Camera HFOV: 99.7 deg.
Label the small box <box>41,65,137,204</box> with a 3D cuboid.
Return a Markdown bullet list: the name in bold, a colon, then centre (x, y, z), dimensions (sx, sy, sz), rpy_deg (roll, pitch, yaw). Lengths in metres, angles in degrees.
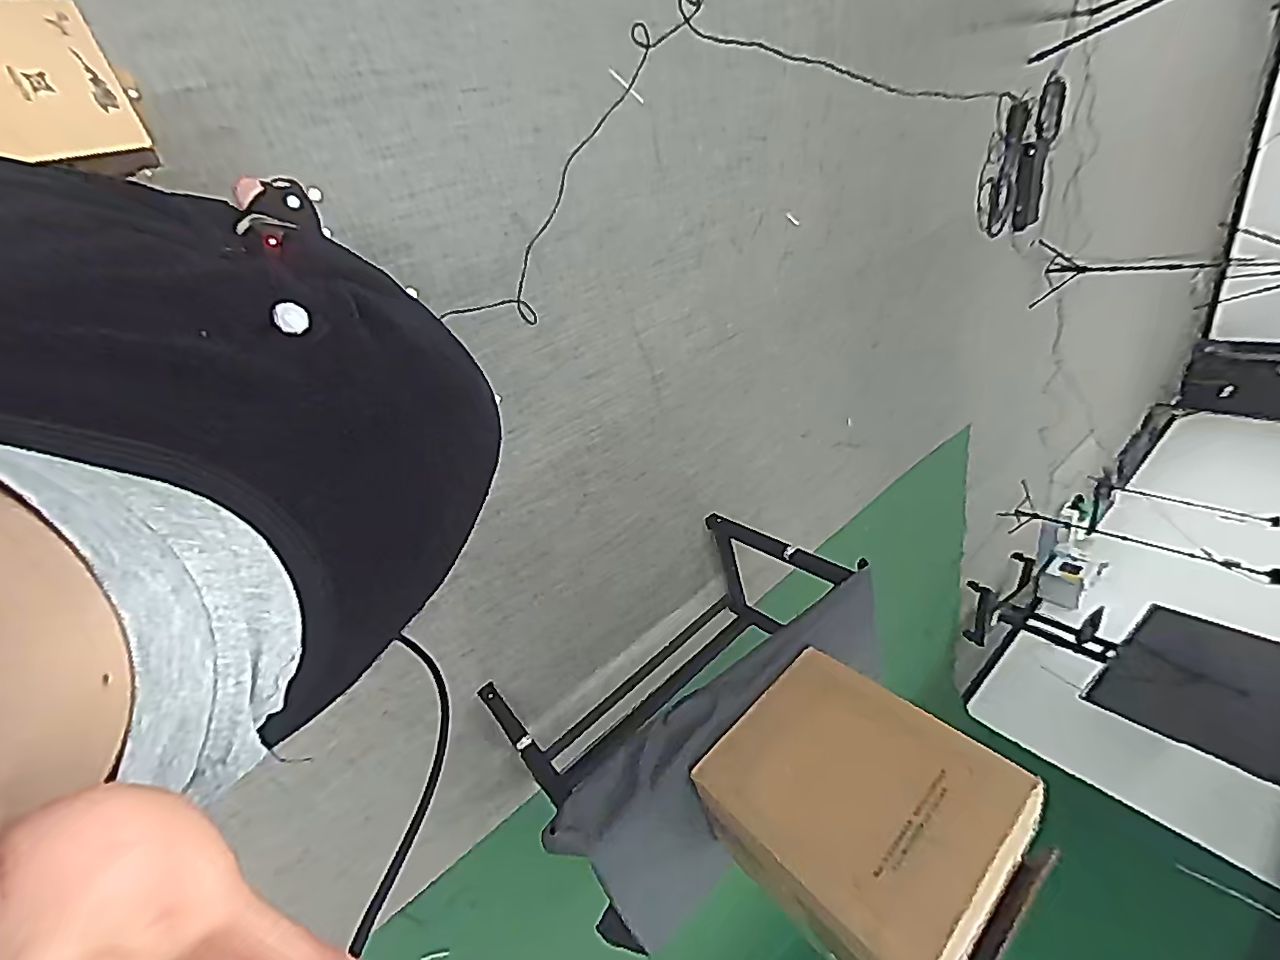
- **small box**: centre (-0.897, -0.550, 0.835), dimensions (0.168, 0.176, 0.179), rpy_deg (1, 107, -38)

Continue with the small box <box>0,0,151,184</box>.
- **small box**: centre (-0.799, -0.503, 0.712), dimensions (0.179, 0.176, 0.168), rpy_deg (-29, 122, -26)
